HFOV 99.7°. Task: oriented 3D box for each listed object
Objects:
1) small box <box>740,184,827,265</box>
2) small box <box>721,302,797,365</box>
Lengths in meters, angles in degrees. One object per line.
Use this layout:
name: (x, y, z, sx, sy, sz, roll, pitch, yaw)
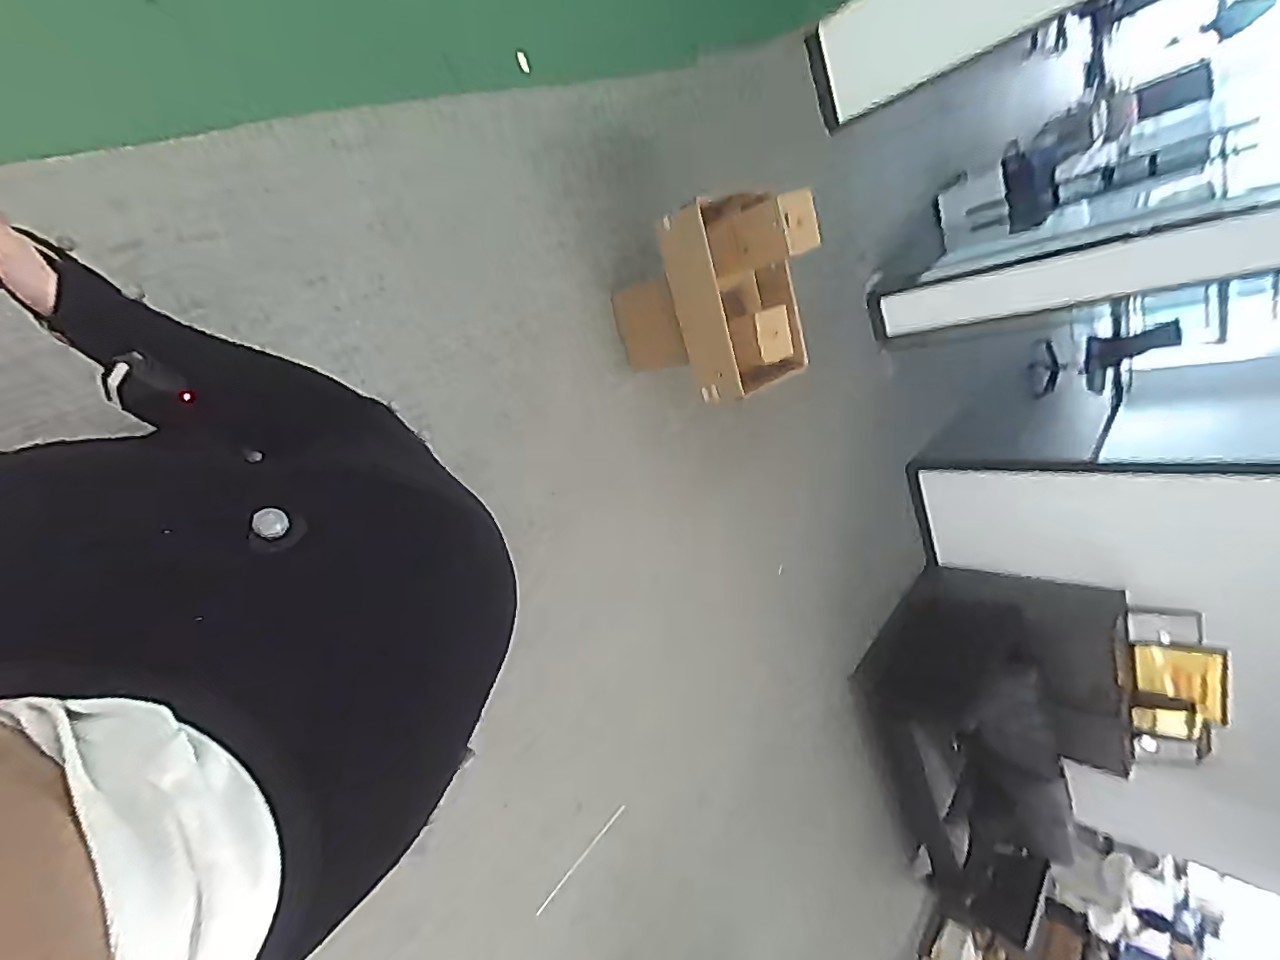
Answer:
small box: (0.426, -0.757, 1.608, 0.179, 0.176, 0.168, -31, 111, -34)
small box: (0.401, -0.491, 1.817, 0.179, 0.176, 0.168, -23, 107, -35)
